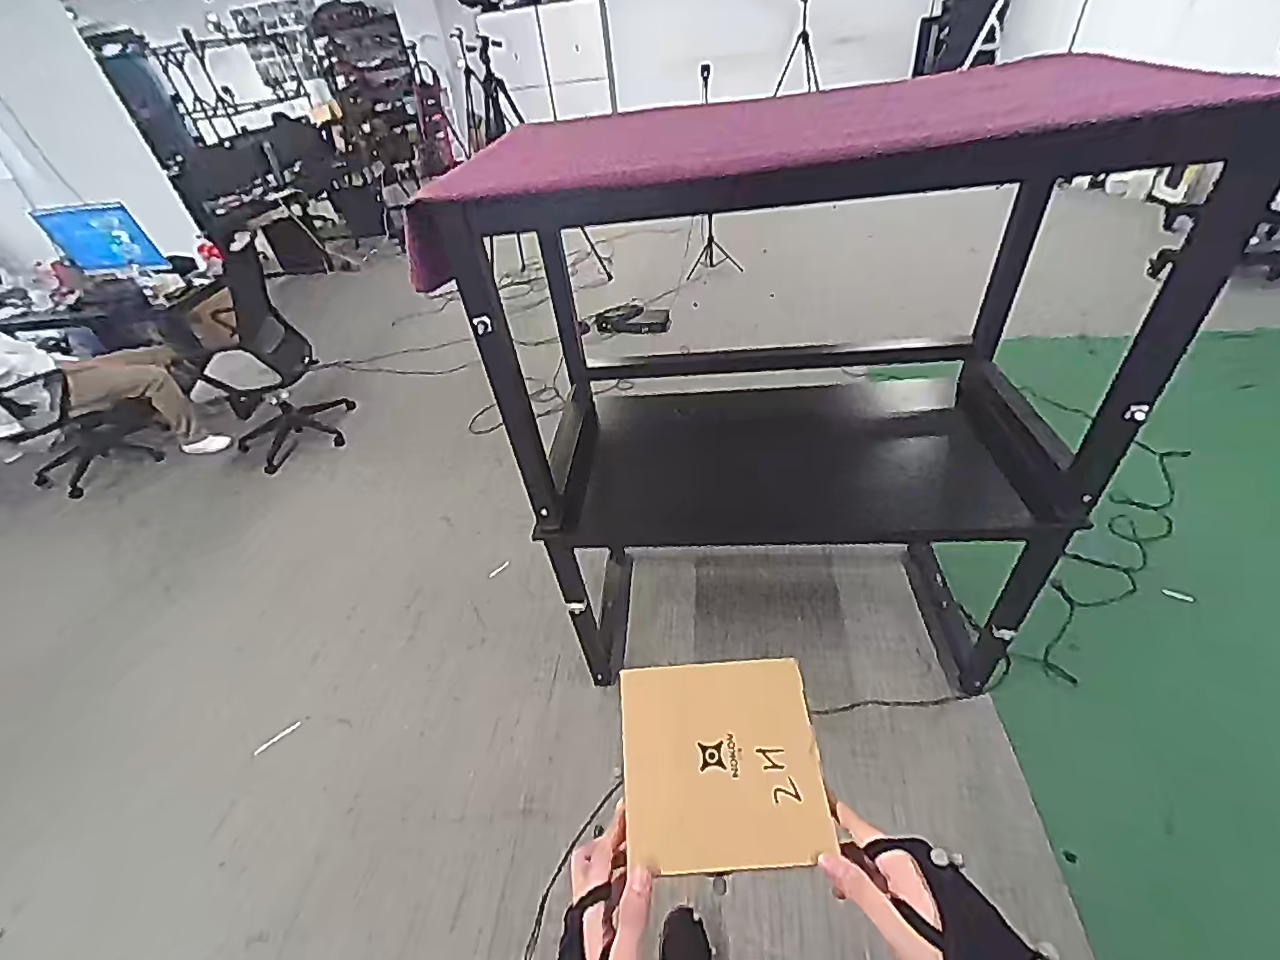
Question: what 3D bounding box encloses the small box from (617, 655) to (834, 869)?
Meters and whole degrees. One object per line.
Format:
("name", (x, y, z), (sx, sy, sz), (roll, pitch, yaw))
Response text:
("small box", (0.073, 0.289, 0.547), (0.179, 0.176, 0.168), (-4, 55, 0))
